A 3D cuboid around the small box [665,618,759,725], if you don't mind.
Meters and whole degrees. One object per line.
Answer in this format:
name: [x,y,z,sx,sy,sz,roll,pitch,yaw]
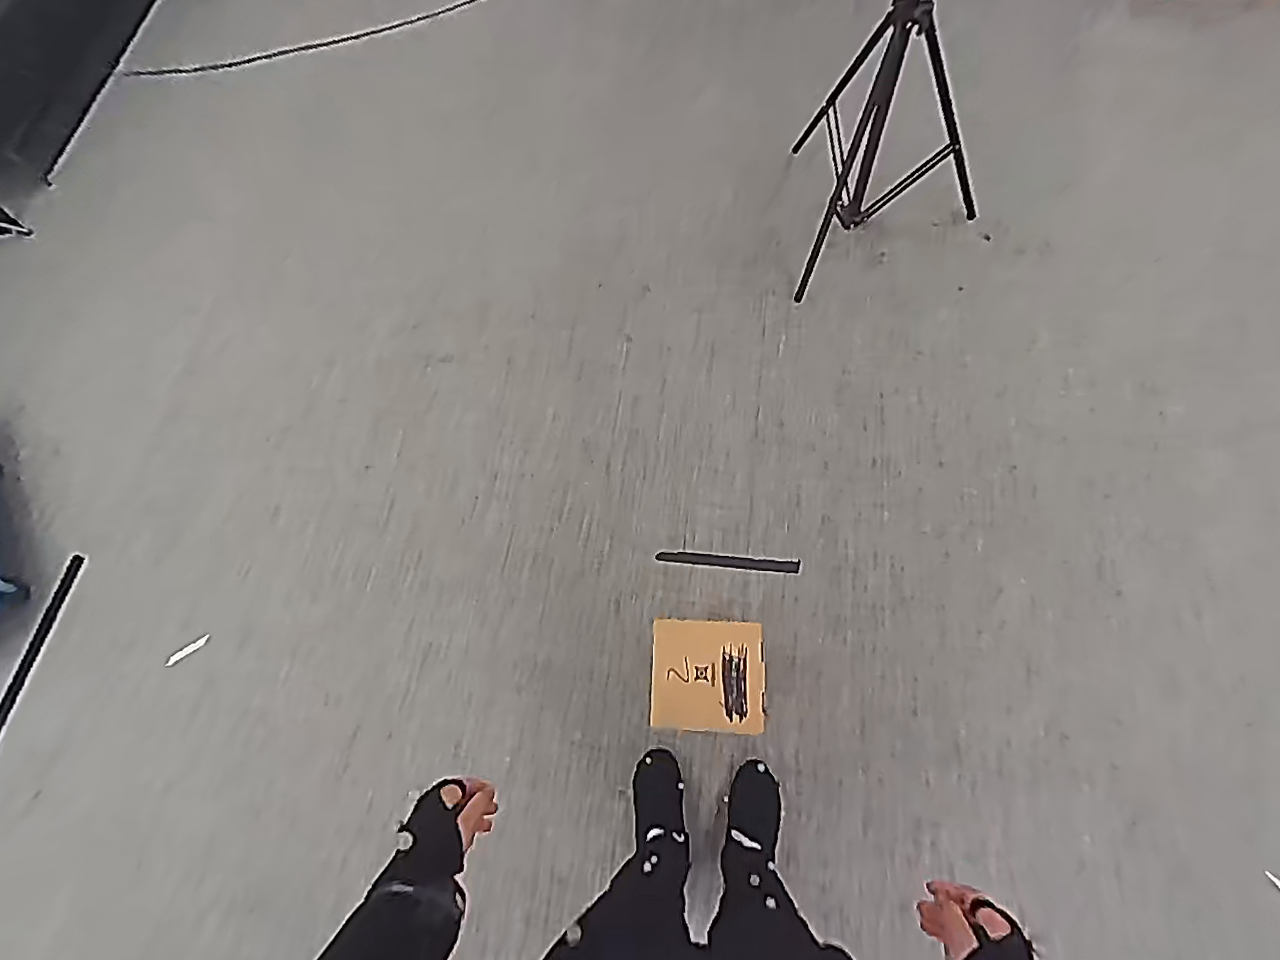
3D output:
small box: [0.145,0.375,1.069,0.168,0.176,0.179,2,71,10]
